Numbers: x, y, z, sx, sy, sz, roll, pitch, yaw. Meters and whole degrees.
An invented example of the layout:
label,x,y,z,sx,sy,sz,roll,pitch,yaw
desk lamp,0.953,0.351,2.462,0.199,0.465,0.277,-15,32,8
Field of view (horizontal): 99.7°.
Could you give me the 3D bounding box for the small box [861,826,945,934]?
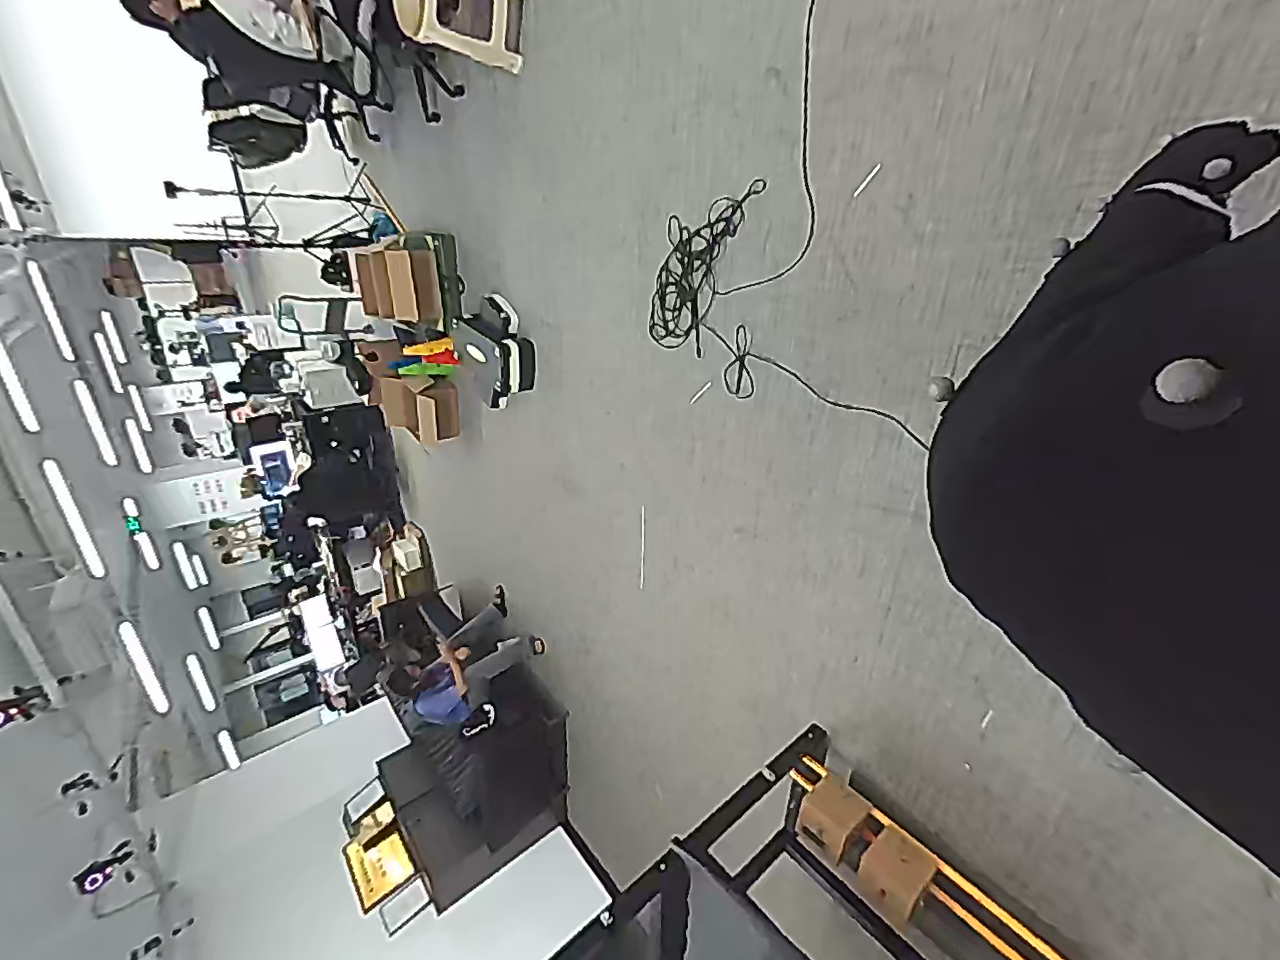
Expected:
label,x,y,z,sx,sy,sz,roll,pitch,yaw
small box,0.827,1.243,1.695,0.168,0.176,0.179,27,124,45
